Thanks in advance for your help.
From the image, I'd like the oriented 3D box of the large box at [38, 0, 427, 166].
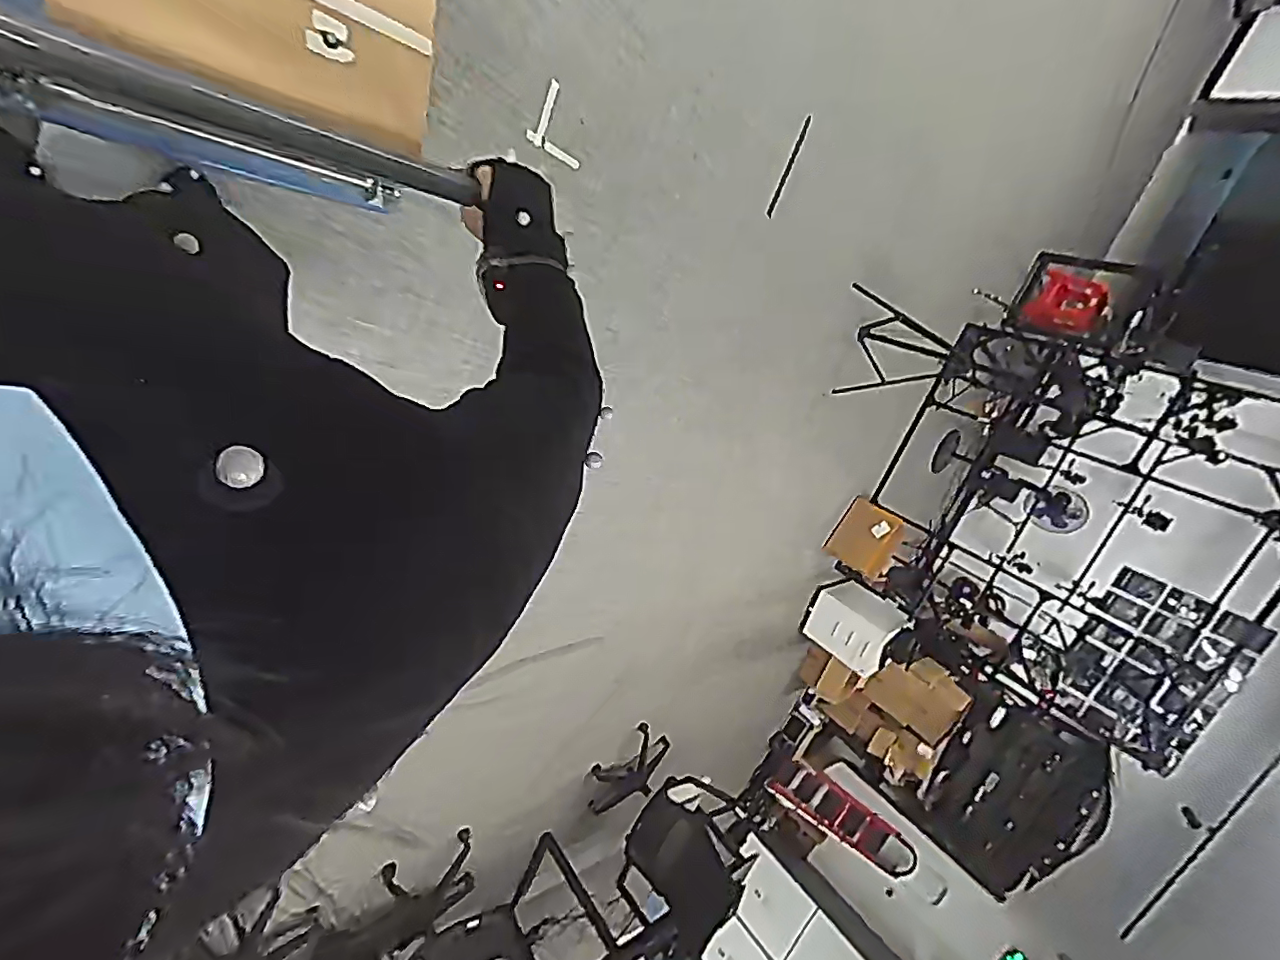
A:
[{"bbox_3d":[-0.568,-0.685,0.768,0.408,0.320,0.320,-4,117,-45],"label":"large box"}]
